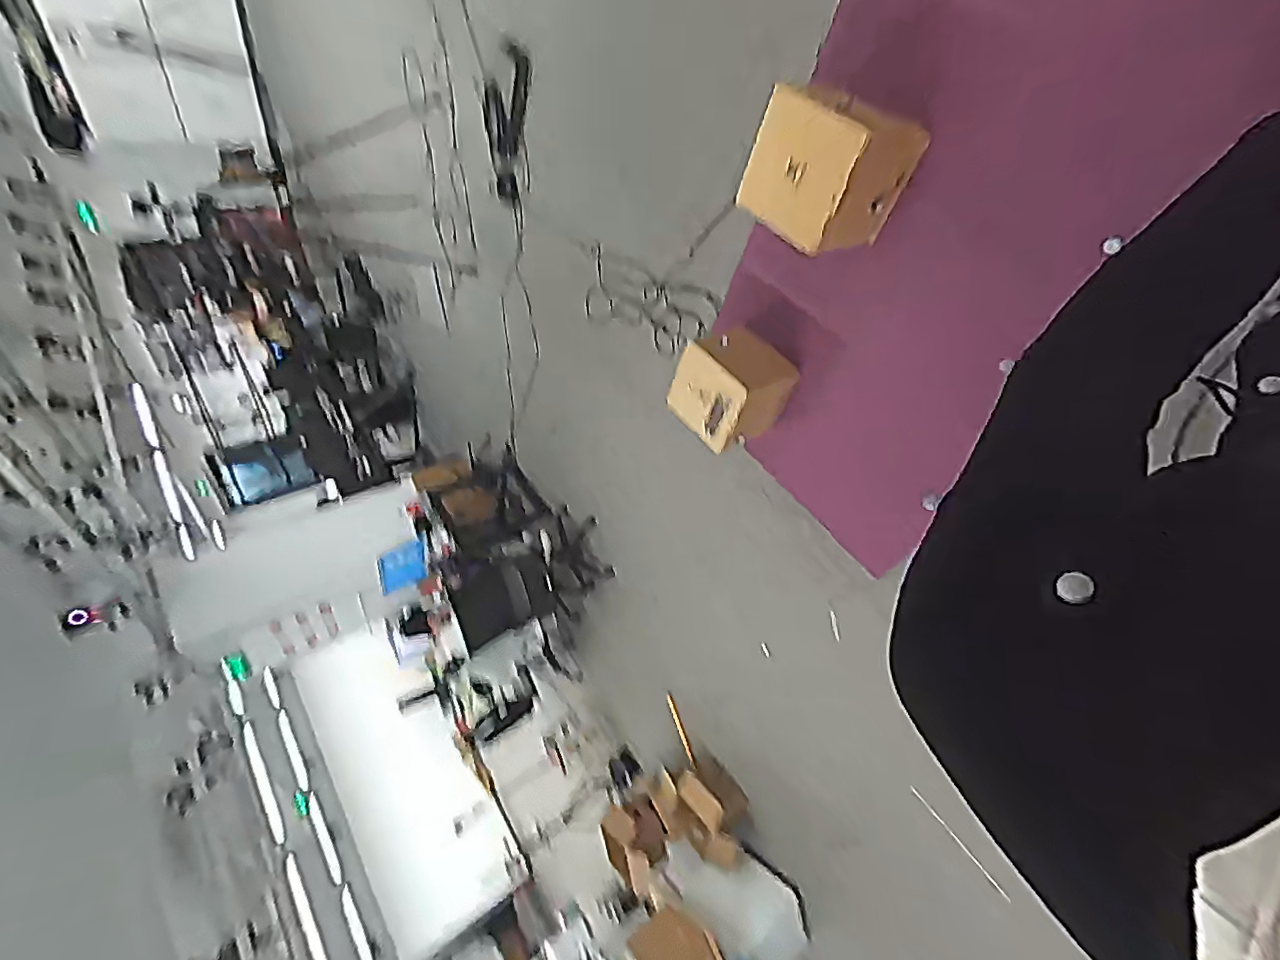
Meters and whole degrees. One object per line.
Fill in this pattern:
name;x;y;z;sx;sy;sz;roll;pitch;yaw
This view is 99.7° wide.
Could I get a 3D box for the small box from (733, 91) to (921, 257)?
small box;0.283;-0.466;0.832;0.179;0.176;0.168;48;141;25
